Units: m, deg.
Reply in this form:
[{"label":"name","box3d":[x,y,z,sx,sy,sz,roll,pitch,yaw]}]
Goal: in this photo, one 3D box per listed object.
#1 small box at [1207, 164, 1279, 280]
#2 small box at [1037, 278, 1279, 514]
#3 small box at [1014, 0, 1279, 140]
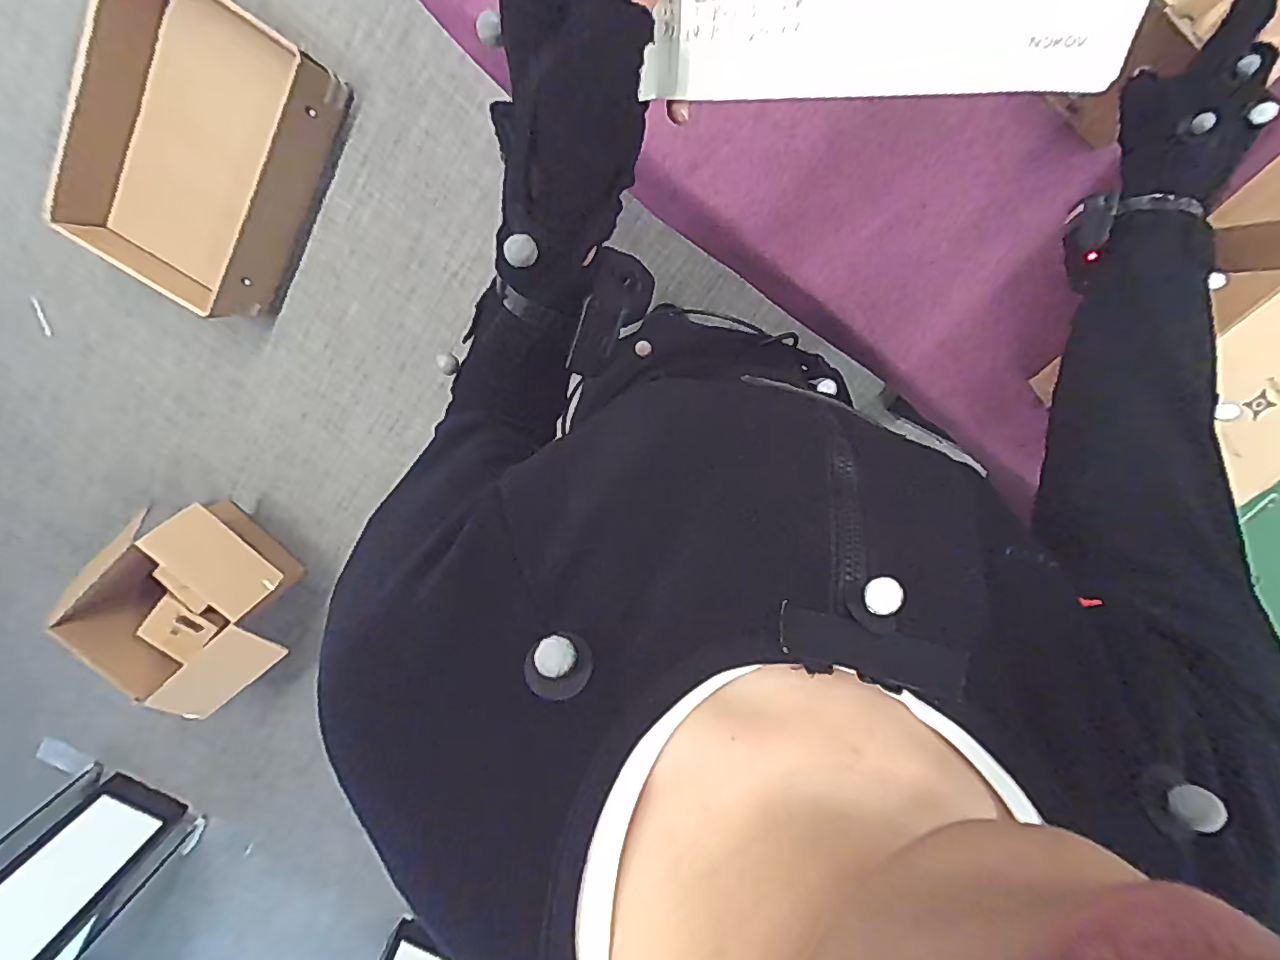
[{"label":"small box","box3d":[0.737,-0.261,0.520,0.168,0.176,0.179,41,105,-9]},{"label":"small box","box3d":[0.595,-0.101,0.585,0.168,0.176,0.179,44,106,-10]},{"label":"small box","box3d":[0.488,-0.445,0.472,0.168,0.176,0.179,37,108,-9]}]
